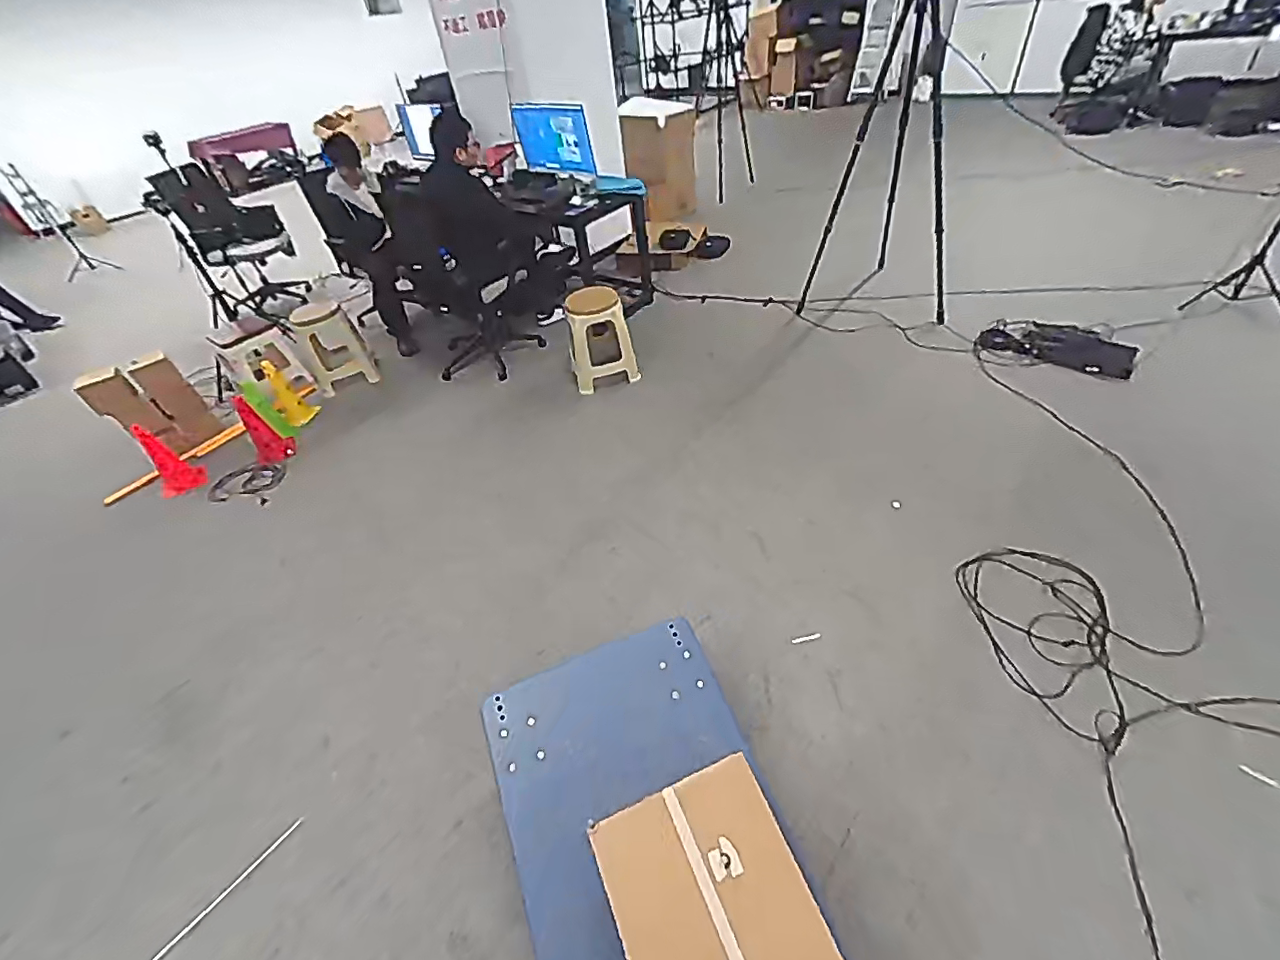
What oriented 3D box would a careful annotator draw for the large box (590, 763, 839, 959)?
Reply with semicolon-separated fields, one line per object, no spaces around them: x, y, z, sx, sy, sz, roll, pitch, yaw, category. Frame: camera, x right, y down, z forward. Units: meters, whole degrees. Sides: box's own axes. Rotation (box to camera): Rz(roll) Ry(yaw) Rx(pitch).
0.135;0.821;1.013;0.320;0.320;0.408;-20;56;-12;large box
